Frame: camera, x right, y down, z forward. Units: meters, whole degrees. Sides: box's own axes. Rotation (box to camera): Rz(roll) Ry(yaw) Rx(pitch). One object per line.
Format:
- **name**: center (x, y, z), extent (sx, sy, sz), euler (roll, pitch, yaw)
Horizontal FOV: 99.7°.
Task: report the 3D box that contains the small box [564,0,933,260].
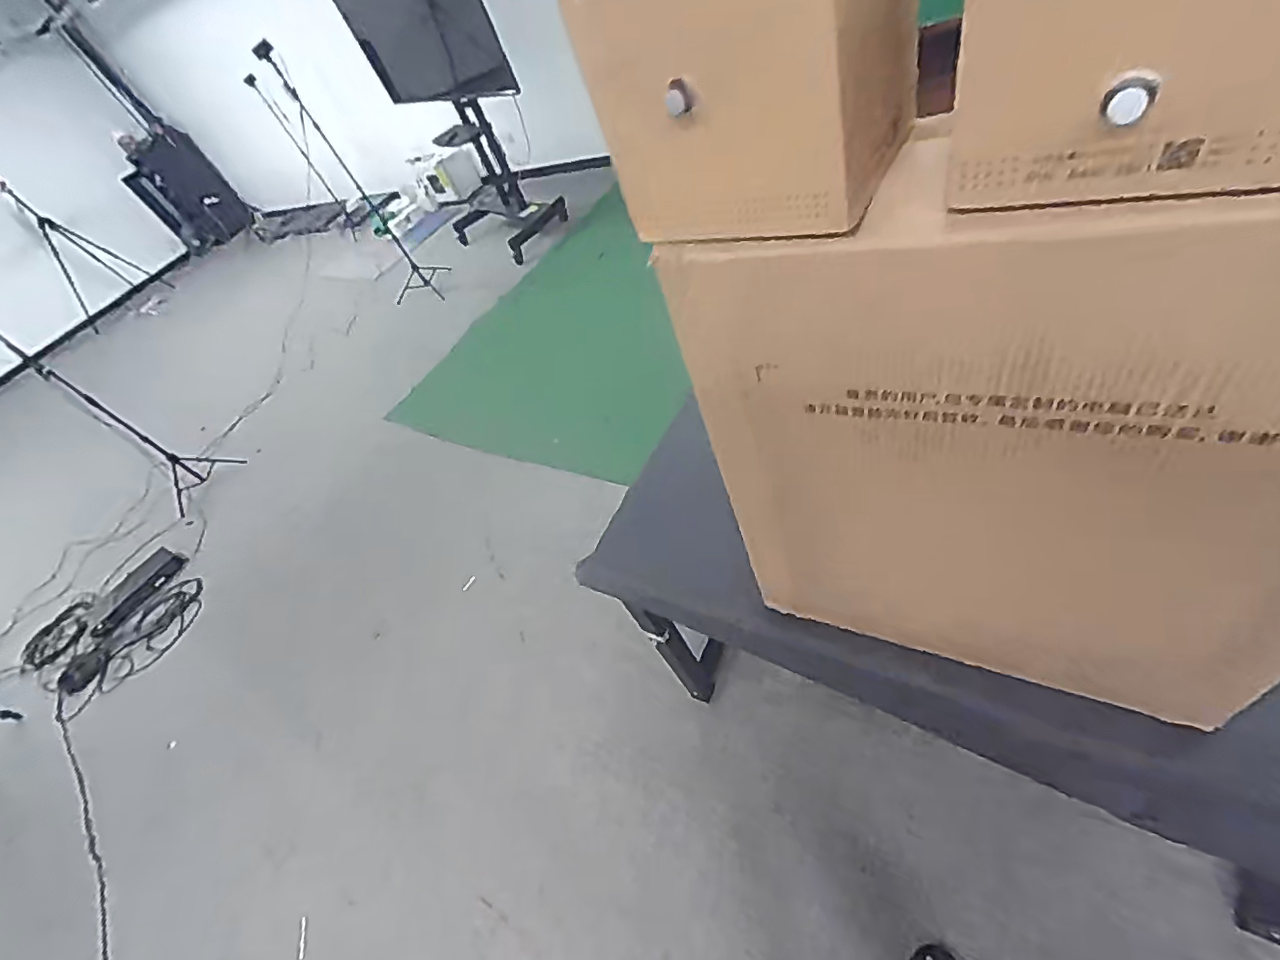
- **small box**: center (0.086, -0.274, 0.378), extent (0.179, 0.176, 0.168), euler (18, 63, 35)
